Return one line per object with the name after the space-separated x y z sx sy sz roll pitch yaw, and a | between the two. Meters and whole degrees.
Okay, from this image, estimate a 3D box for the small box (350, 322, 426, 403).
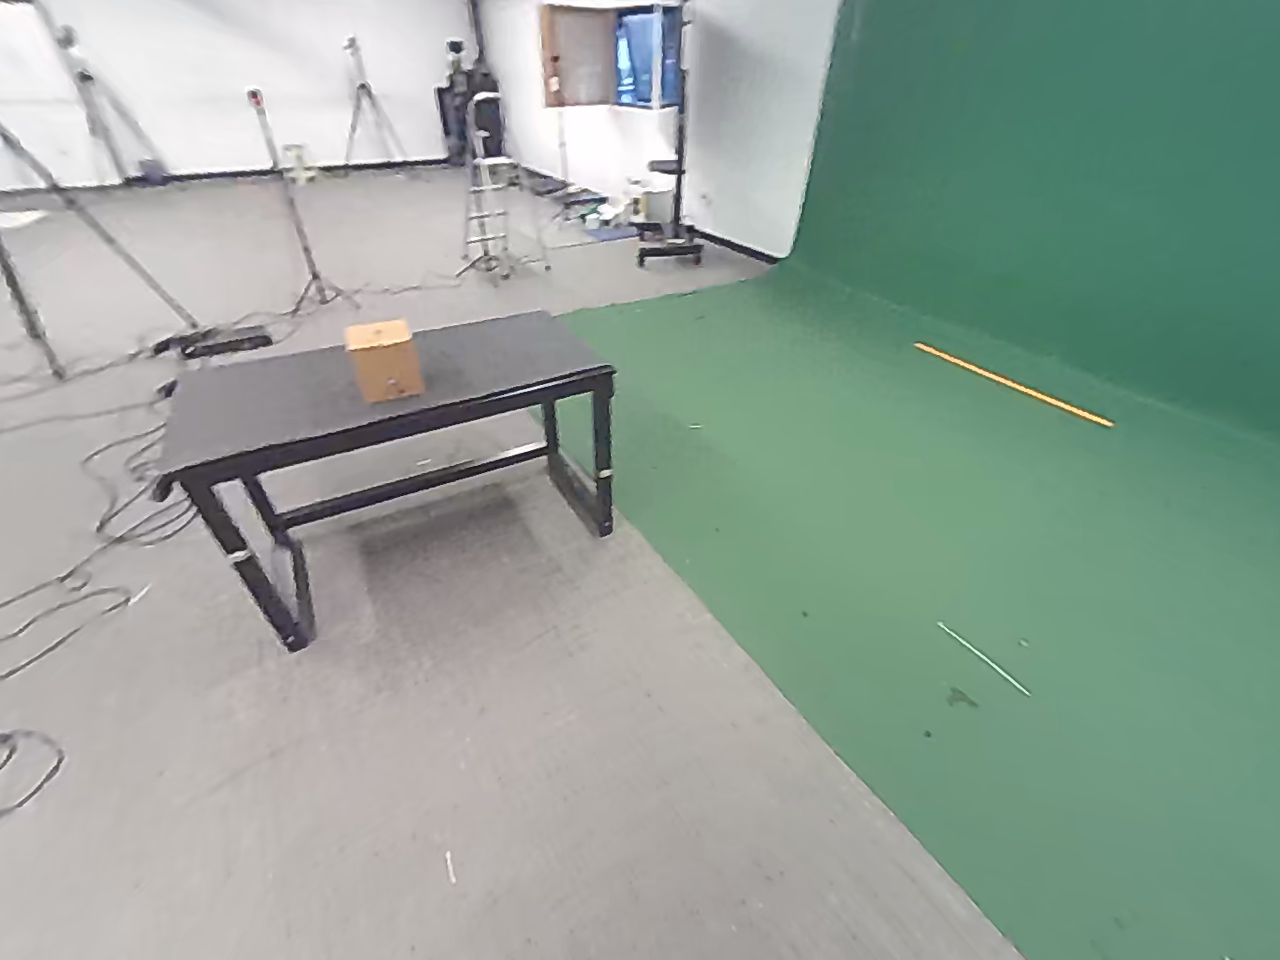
-0.737 -0.344 1.584 0.168 0.176 0.179 -15 40 -21 | small box
